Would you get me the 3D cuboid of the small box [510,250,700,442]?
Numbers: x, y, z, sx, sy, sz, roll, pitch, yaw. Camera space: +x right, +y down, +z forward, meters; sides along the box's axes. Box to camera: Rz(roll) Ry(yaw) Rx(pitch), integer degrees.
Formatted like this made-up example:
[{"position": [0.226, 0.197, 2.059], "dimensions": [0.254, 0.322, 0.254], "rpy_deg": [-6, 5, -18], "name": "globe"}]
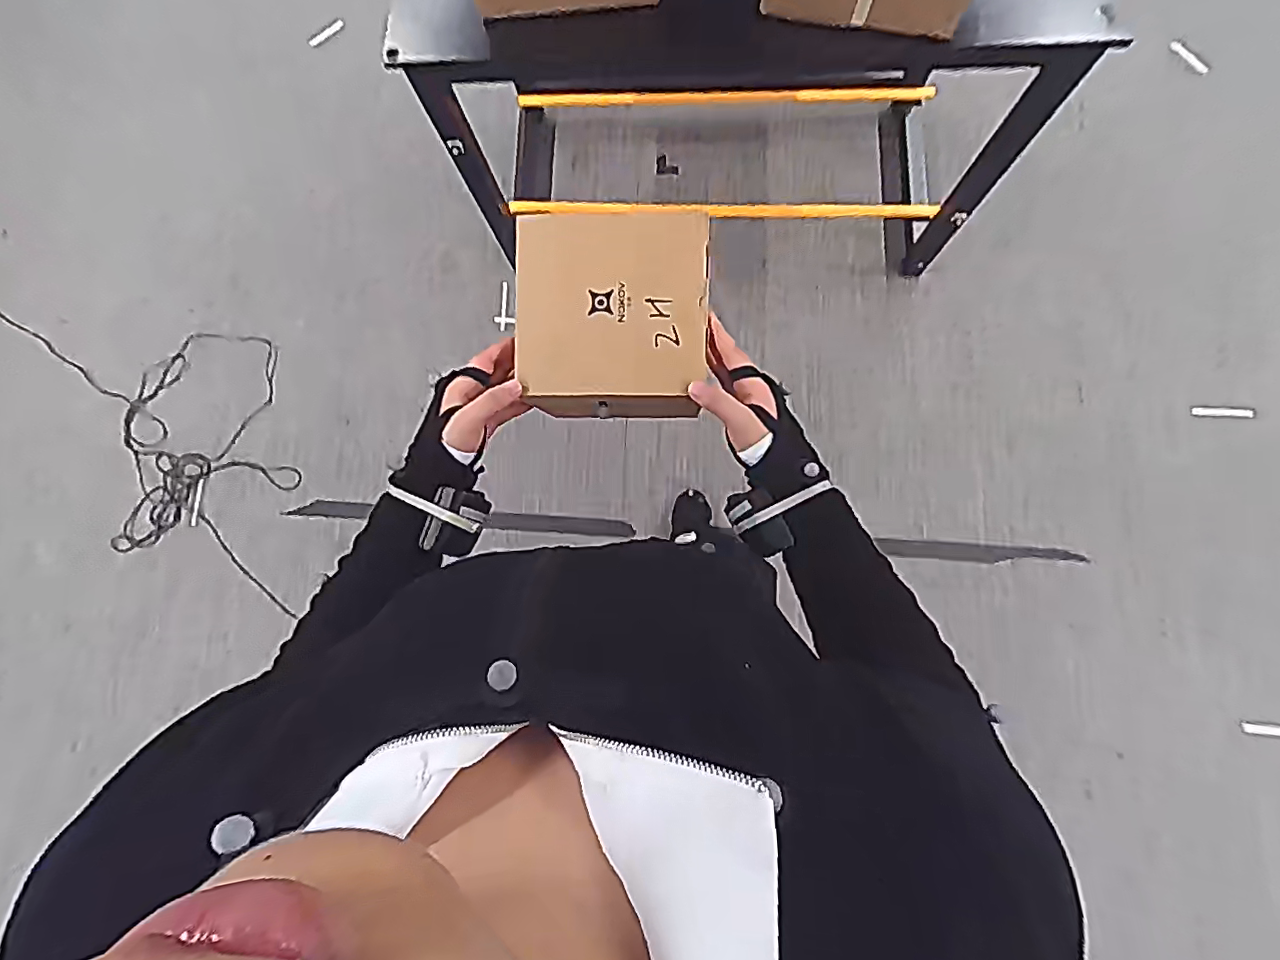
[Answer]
[{"position": [-0.027, -0.129, 0.578], "dimensions": [0.179, 0.176, 0.168], "rpy_deg": [1, 90, 4], "name": "small box"}]
